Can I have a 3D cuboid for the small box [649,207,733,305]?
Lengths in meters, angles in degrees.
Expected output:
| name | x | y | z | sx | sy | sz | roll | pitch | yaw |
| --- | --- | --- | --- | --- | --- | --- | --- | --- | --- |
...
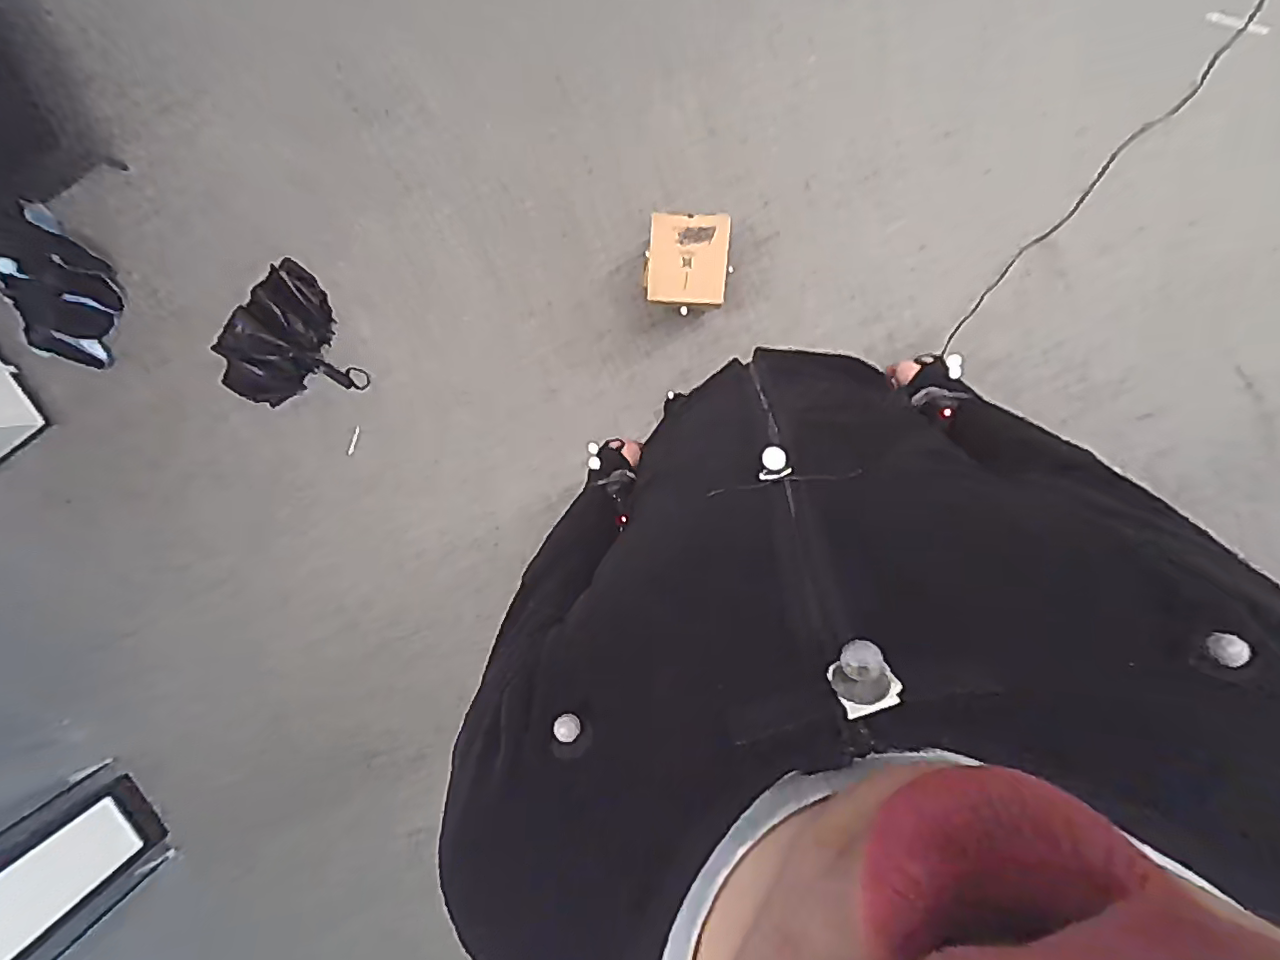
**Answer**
| name | x | y | z | sx | sy | sz | roll | pitch | yaw |
| --- | --- | --- | --- | --- | --- | --- | --- | --- | --- |
| small box | 0.116 | -0.495 | 1.212 | 0.168 | 0.176 | 0.179 | 5 | 105 | 7 |
